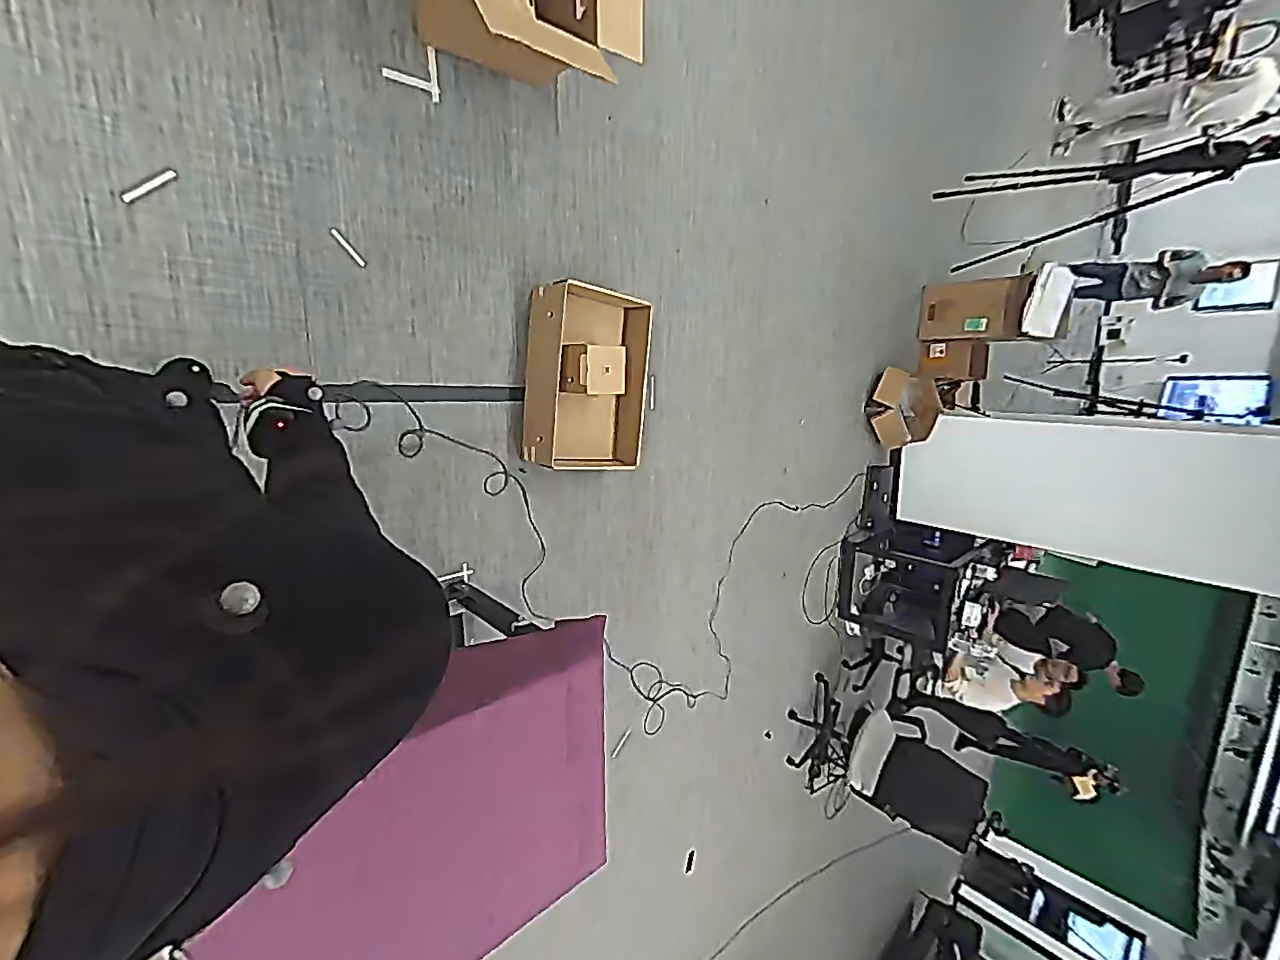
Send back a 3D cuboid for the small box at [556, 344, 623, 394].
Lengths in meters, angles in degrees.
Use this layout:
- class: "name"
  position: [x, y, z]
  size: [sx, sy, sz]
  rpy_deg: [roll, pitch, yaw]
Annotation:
- class: "small box"
  position: [-0.179, -0.387, 1.897]
  size: [0.179, 0.176, 0.168]
  rpy_deg: [-9, 106, -43]
